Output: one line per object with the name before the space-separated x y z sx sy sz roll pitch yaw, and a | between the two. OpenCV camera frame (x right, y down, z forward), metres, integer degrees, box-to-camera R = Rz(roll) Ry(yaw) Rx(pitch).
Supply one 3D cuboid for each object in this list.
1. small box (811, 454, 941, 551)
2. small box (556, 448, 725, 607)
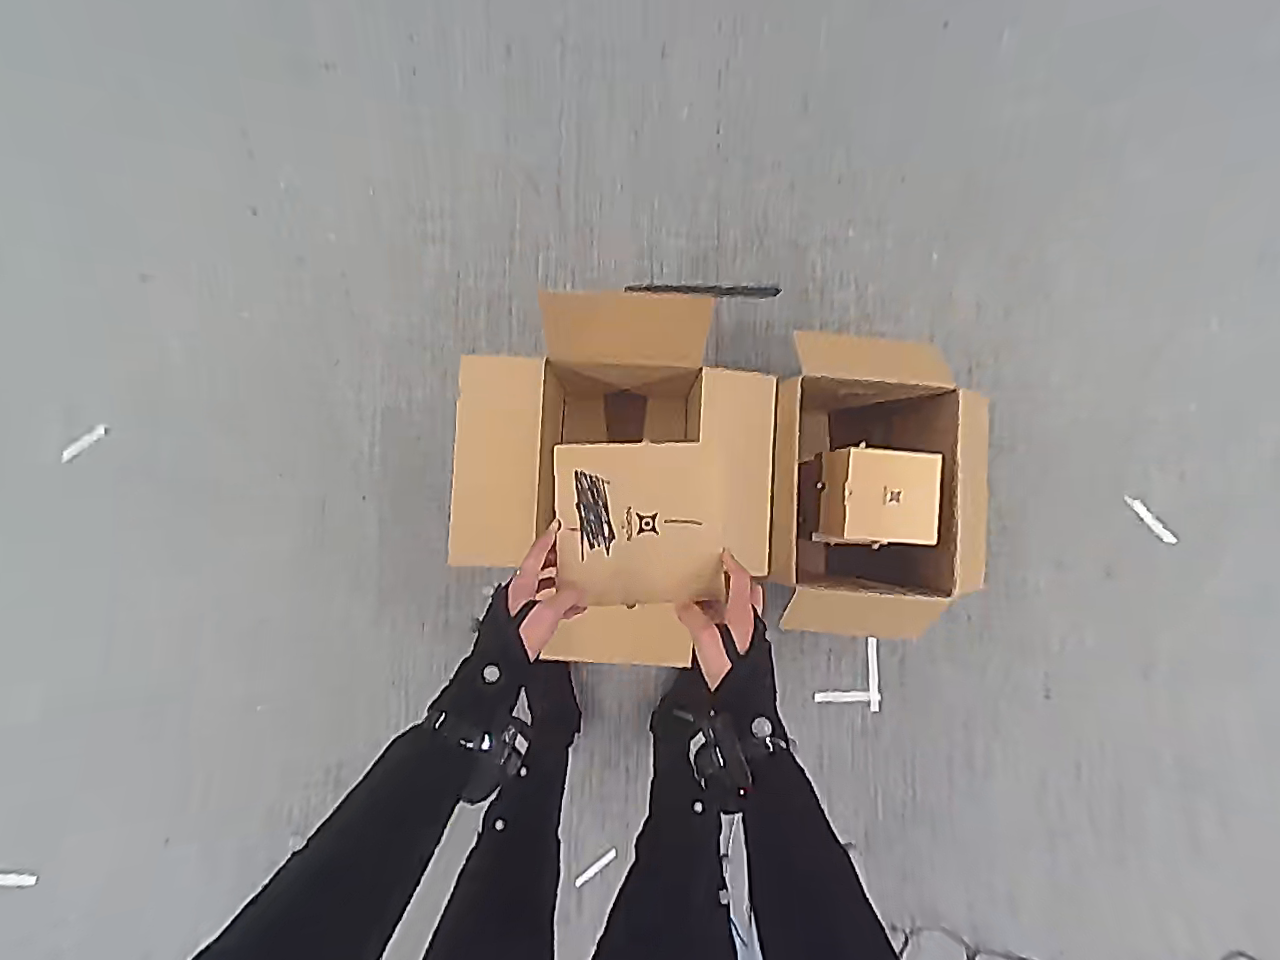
small box | 0.453 0.041 1.057 0.179 0.176 0.168 4 89 -1
small box | 0.004 0.055 0.638 0.179 0.176 0.168 -1 86 2
